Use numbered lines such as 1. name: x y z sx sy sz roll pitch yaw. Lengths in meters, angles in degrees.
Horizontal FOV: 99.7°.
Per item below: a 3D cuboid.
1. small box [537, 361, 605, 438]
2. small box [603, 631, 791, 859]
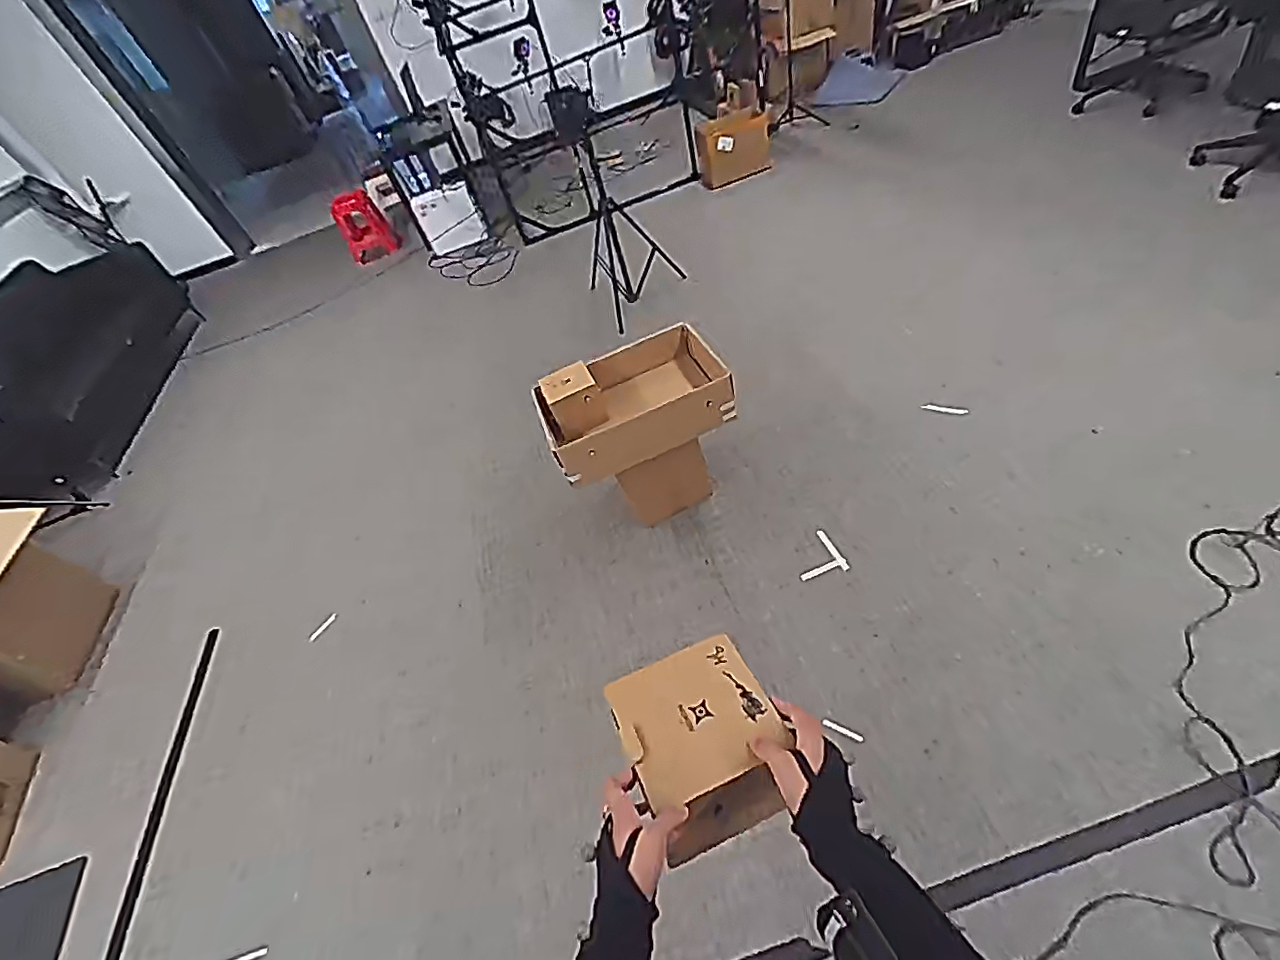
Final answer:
1. small box: -0.236 -0.281 1.899 0.179 0.176 0.168 -26 46 -4
2. small box: 0.072 0.331 0.678 0.179 0.176 0.168 -20 39 -12
